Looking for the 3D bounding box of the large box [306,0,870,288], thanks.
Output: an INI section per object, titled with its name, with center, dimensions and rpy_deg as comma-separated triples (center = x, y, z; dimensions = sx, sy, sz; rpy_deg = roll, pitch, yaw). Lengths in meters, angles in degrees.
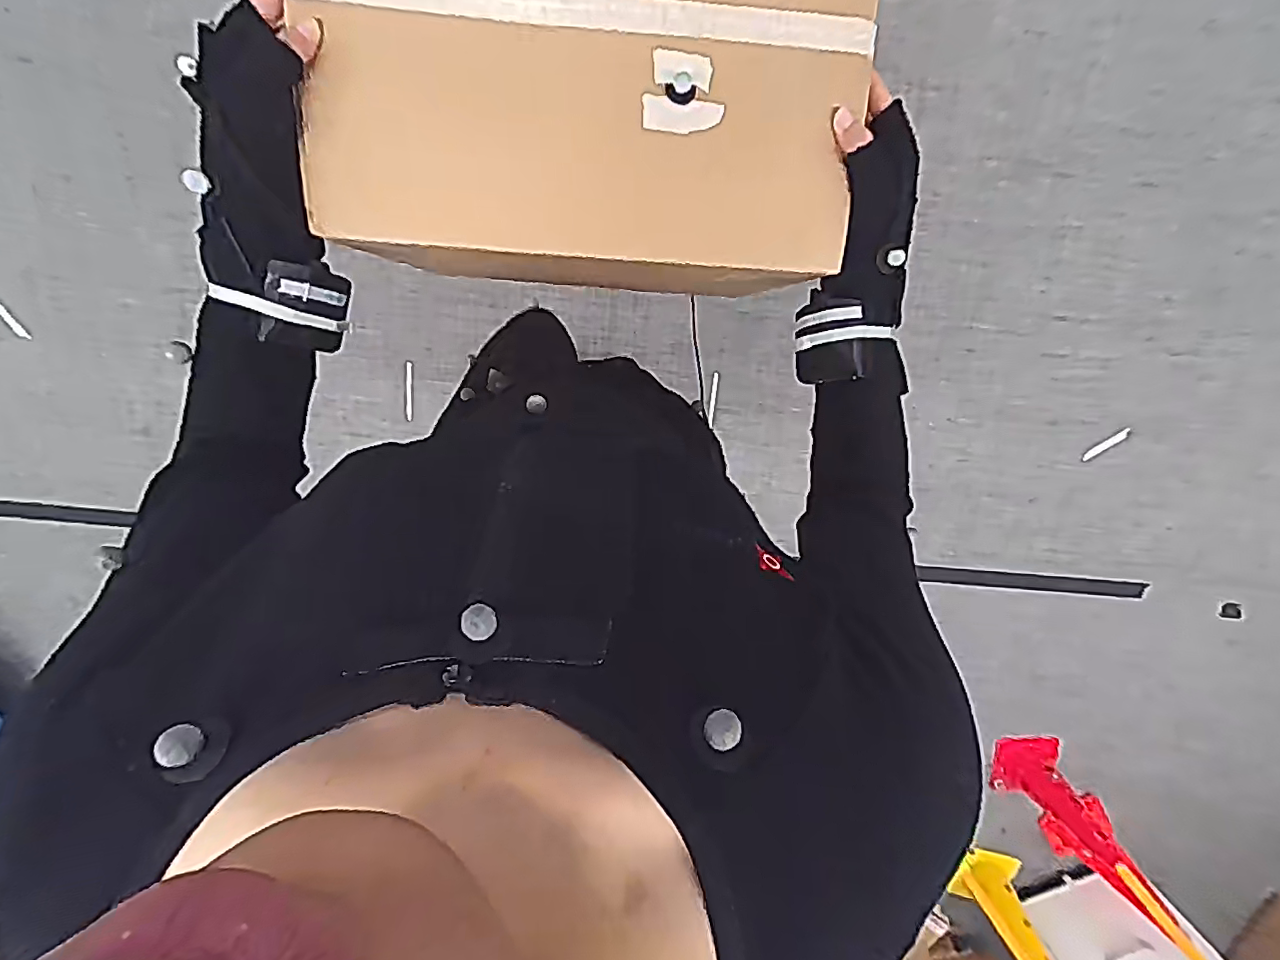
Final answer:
[large box]
center = -0.043, -0.370, 0.528
dimensions = 0.408, 0.320, 0.320
rpy_deg = 2, 105, -5
